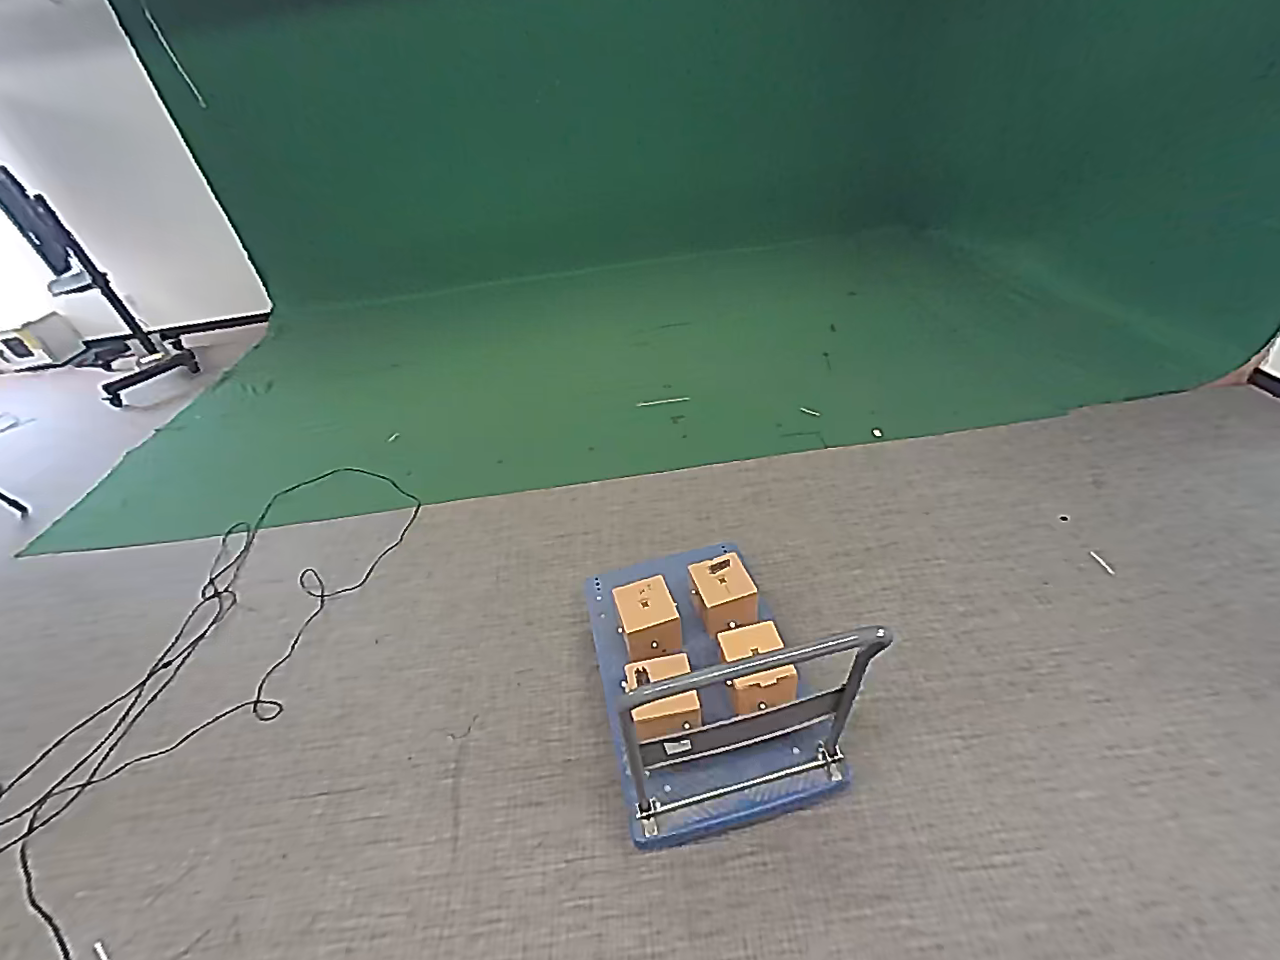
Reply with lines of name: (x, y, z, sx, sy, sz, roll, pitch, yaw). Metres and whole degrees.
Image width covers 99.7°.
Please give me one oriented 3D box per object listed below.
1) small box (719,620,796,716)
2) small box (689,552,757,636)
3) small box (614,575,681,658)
small box: (0.326, 0.533, 1.535, 0.168, 0.176, 0.179, -13, 40, -5)
small box: (0.265, 0.369, 1.741, 0.168, 0.176, 0.179, -16, 41, -8)
small box: (0.026, 0.437, 1.703, 0.168, 0.176, 0.179, -15, 40, -9)
